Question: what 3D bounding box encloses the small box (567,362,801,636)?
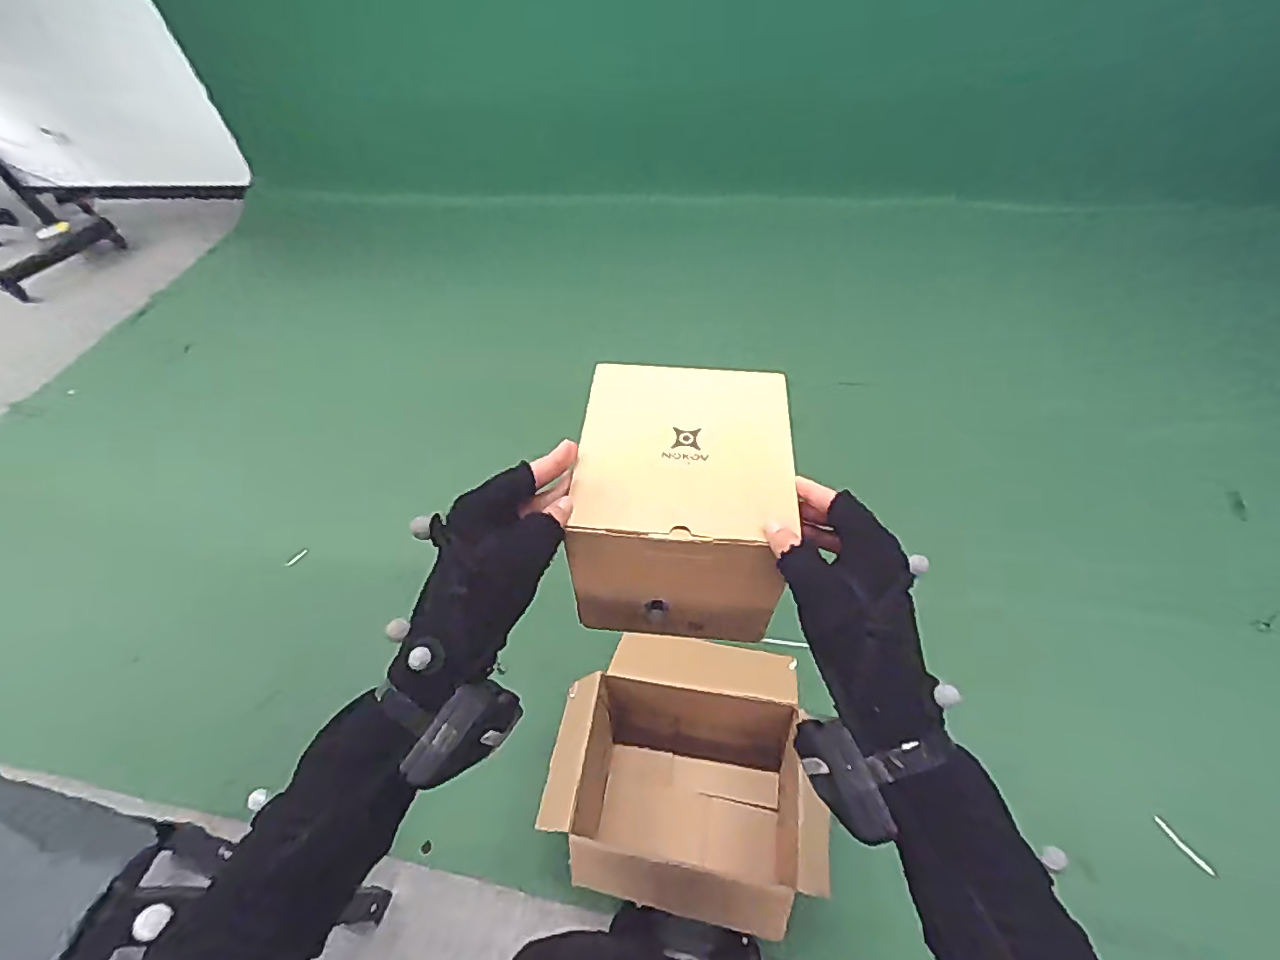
[{"bbox_3d":[0.036,0.020,0.484,0.168,0.176,0.179,4,53,3],"label":"small box"}]
